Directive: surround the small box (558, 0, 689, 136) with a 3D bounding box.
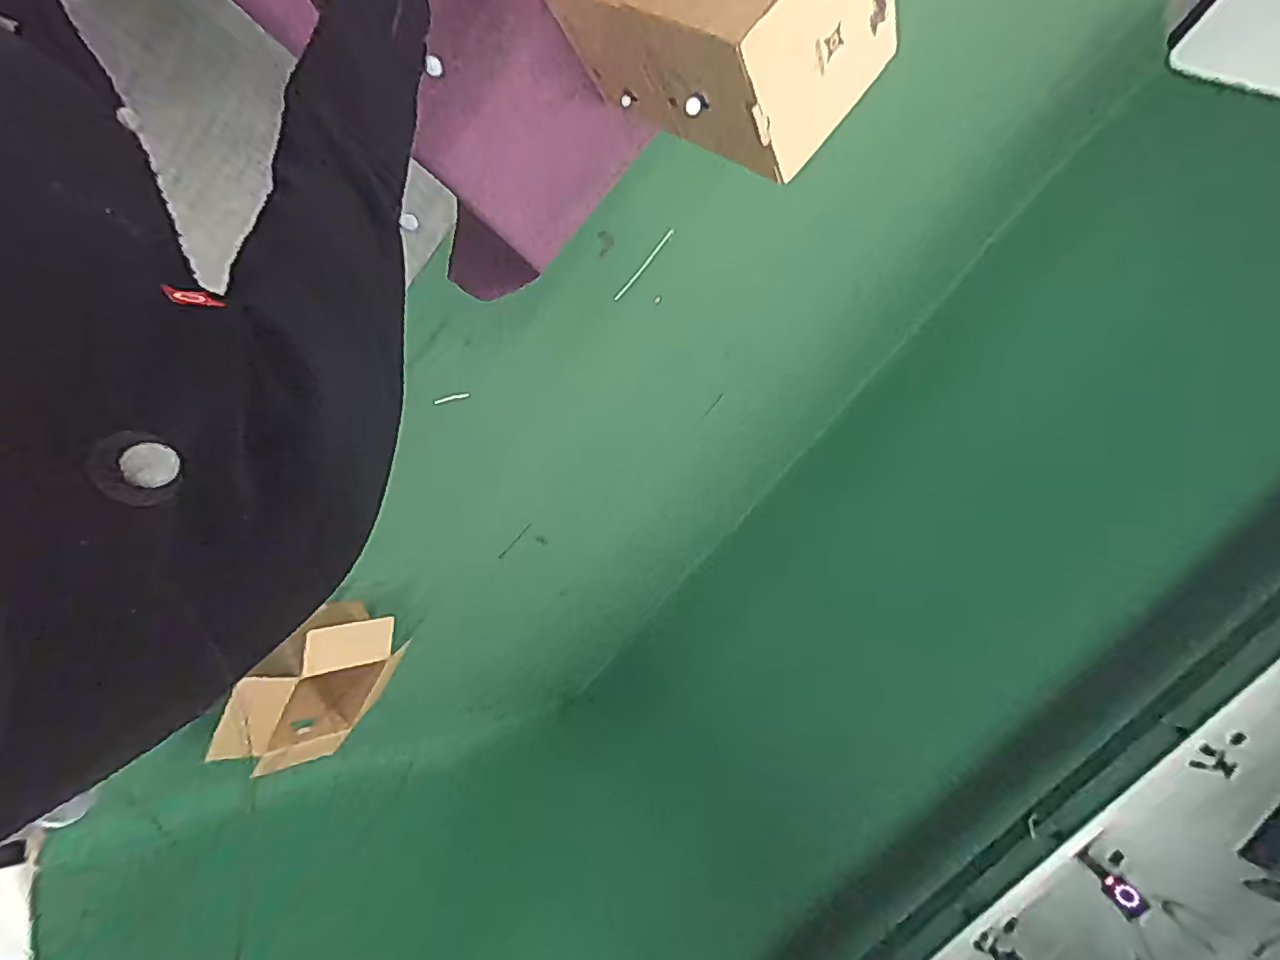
[{"bbox_3d":[0.026,-0.554,0.626,0.179,0.176,0.168,-48,150,6],"label":"small box"}]

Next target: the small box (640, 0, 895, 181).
[{"bbox_3d":[0.122,-0.453,0.540,0.179,0.176,0.168,-47,151,7],"label":"small box"}]
